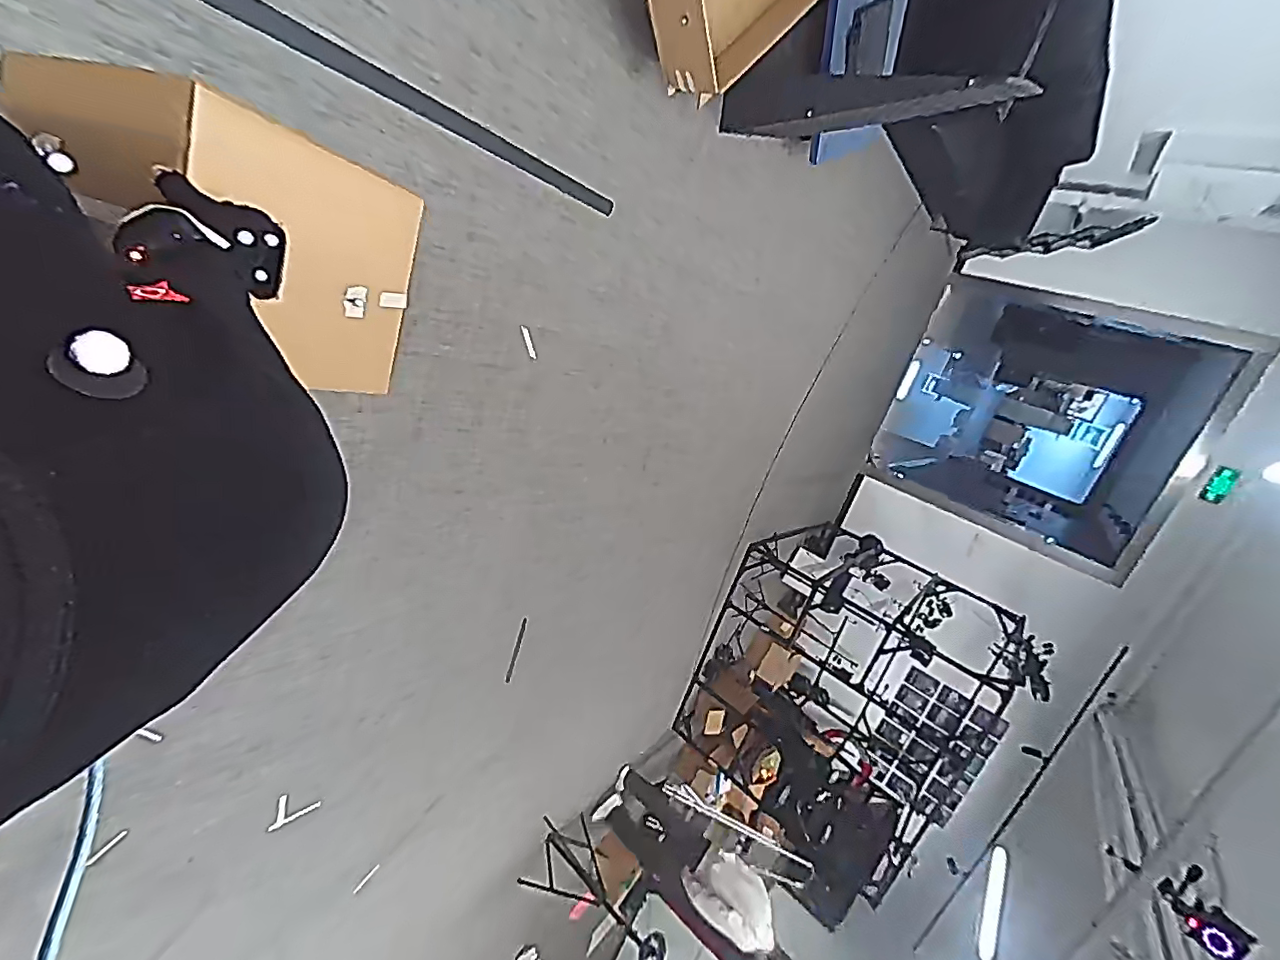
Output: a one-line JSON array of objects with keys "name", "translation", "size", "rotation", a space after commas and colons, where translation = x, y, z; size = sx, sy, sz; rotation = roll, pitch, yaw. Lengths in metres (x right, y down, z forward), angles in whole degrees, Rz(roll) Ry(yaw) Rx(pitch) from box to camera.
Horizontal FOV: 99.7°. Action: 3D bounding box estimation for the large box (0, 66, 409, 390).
[{"name": "large box", "translation": [-0.615, -0.334, 0.786], "size": [0.320, 0.408, 0.320], "rotation": [-11, 120, -66]}]
